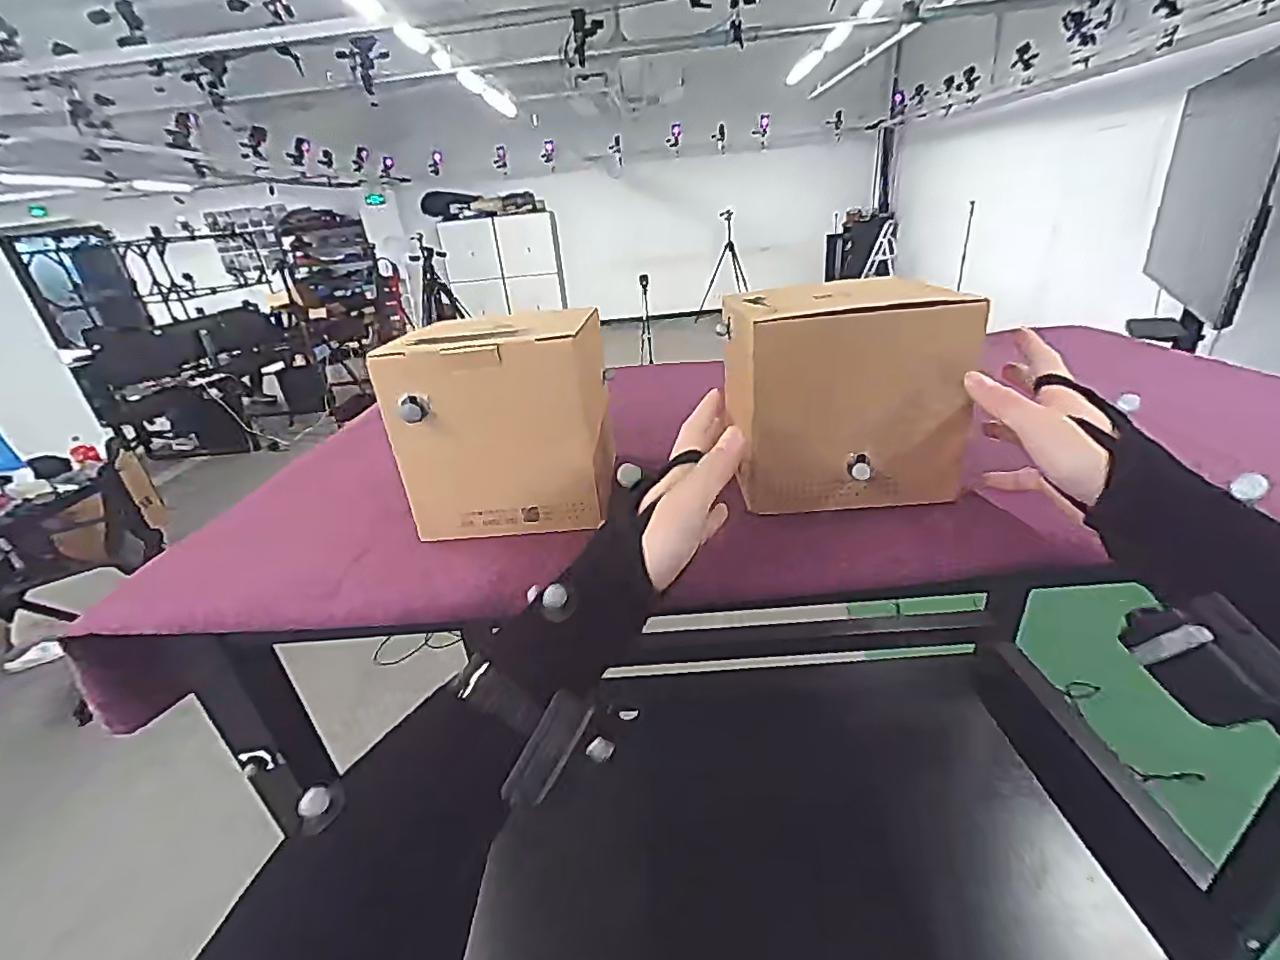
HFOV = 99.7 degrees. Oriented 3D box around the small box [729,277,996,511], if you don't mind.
[{"bbox_3d":[0.177,-0.084,0.494,0.179,0.176,0.168,-4,24,3],"label":"small box"}]
